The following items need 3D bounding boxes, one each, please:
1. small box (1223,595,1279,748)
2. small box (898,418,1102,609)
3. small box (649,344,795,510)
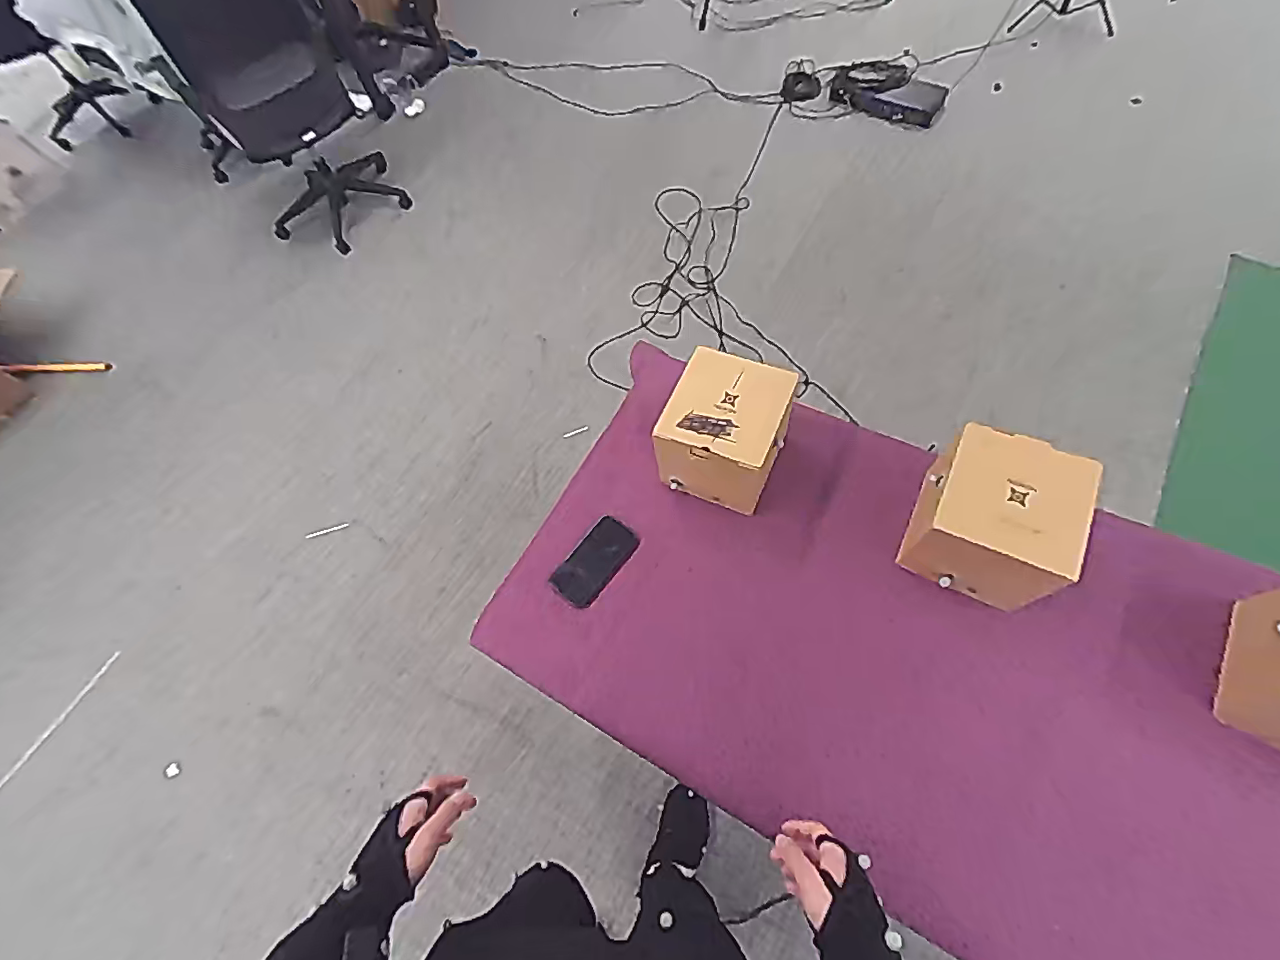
[{"bbox_3d":[0.825,0.228,0.607,0.168,0.176,0.179,27,69,20],"label":"small box"},{"bbox_3d":[0.481,0.051,0.745,0.168,0.176,0.179,23,69,19],"label":"small box"},{"bbox_3d":[0.130,-0.077,0.855,0.168,0.176,0.179,21,66,16],"label":"small box"}]
